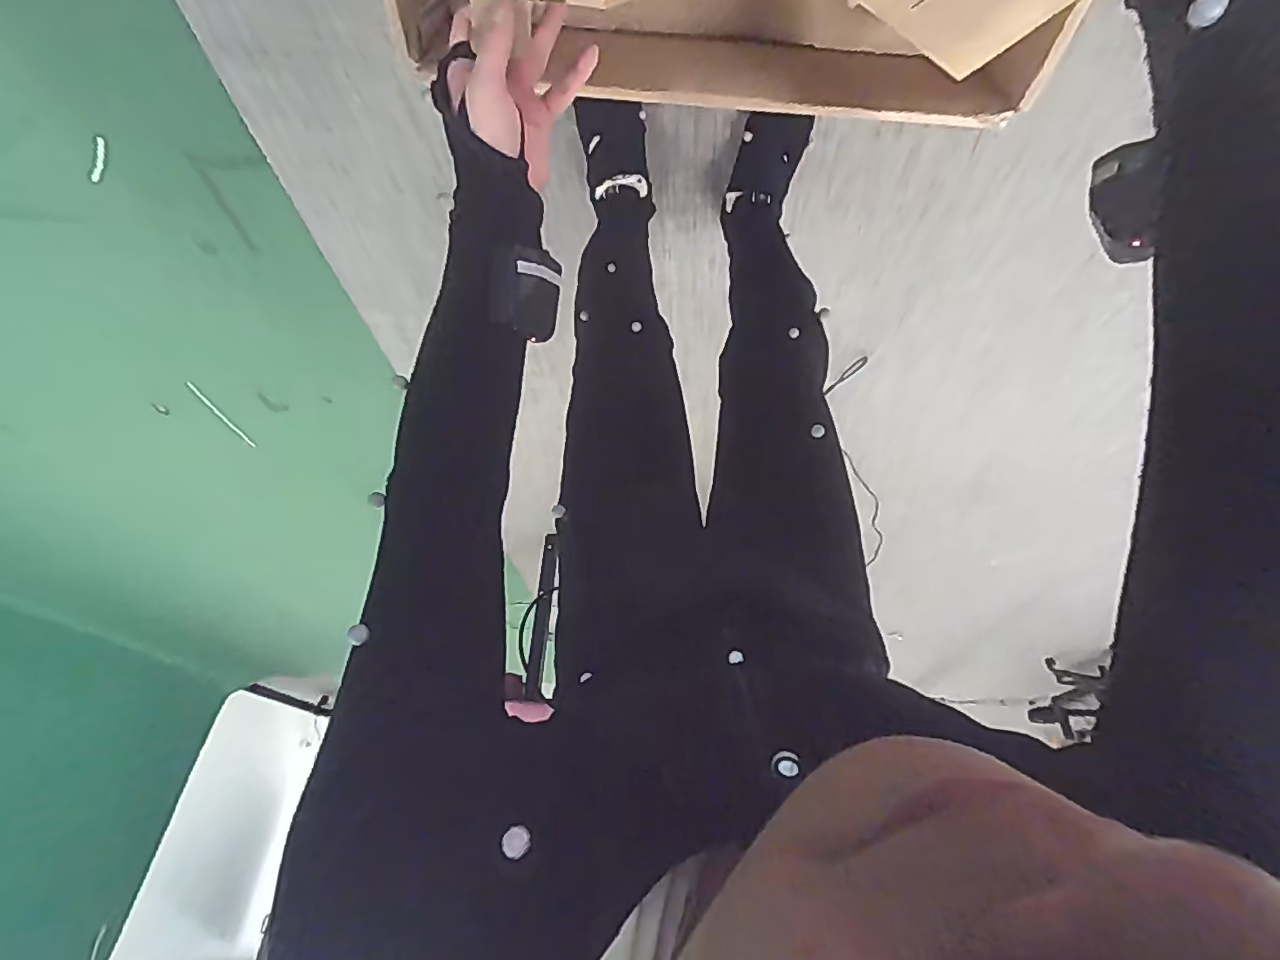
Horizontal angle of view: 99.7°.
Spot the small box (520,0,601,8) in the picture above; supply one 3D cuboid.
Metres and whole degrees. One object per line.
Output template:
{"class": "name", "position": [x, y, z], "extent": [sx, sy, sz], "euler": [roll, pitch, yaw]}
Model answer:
{"class": "small box", "position": [-0.086, -0.452, 0.368], "extent": [0.168, 0.176, 0.179], "euler": [8, 136, 3]}
